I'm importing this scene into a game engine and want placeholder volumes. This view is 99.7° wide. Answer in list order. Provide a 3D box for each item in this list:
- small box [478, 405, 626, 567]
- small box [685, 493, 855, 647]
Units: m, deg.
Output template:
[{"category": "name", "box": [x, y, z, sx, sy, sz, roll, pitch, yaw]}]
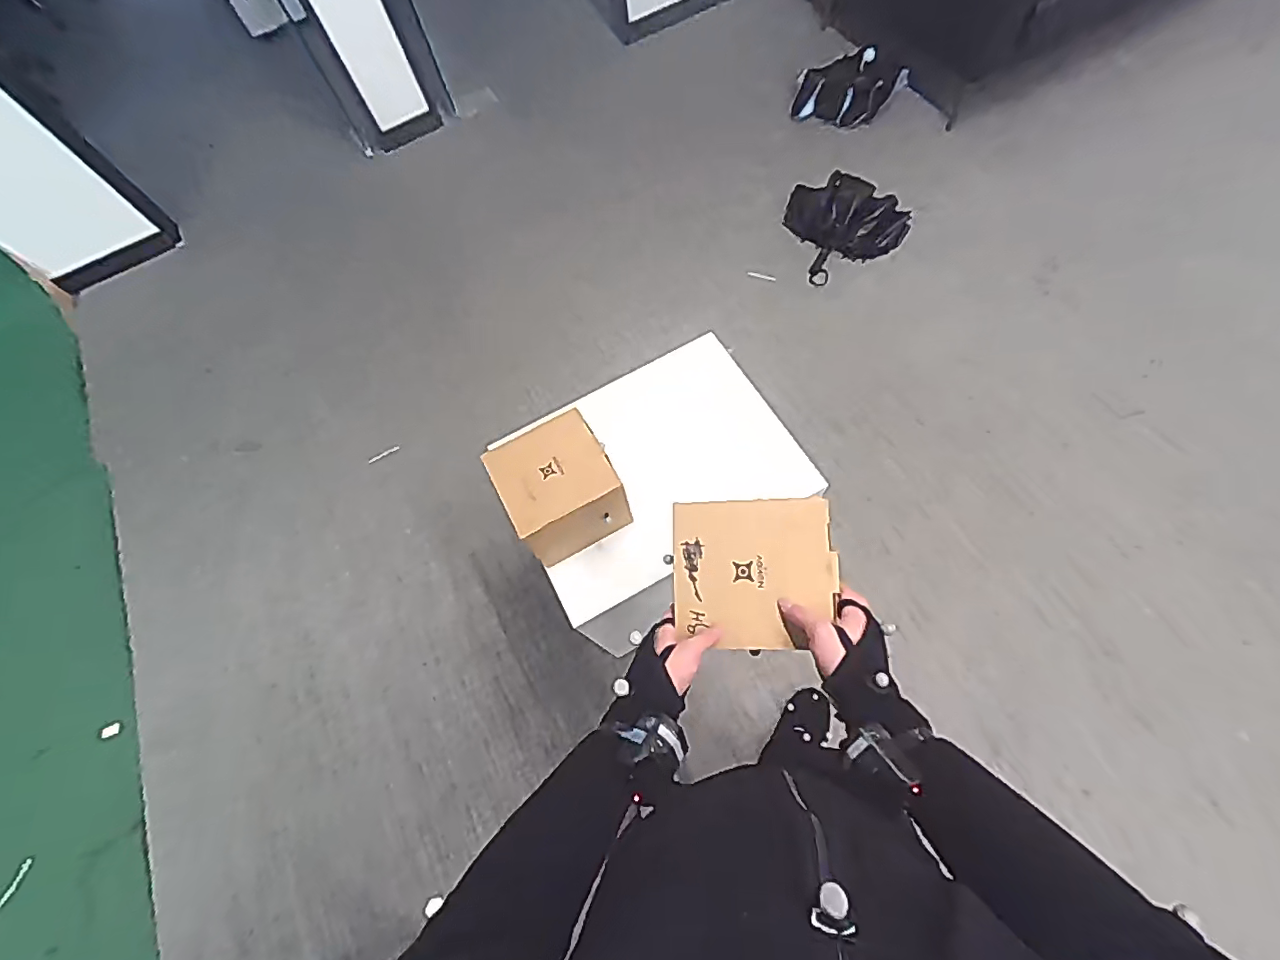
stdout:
[{"category": "small box", "box": [-0.132, 0.016, 0.883, 0.179, 0.176, 0.168, -29, 66, -10]}, {"category": "small box", "box": [0.146, 0.111, 0.659, 0.179, 0.176, 0.168, -2, 76, 8]}]
